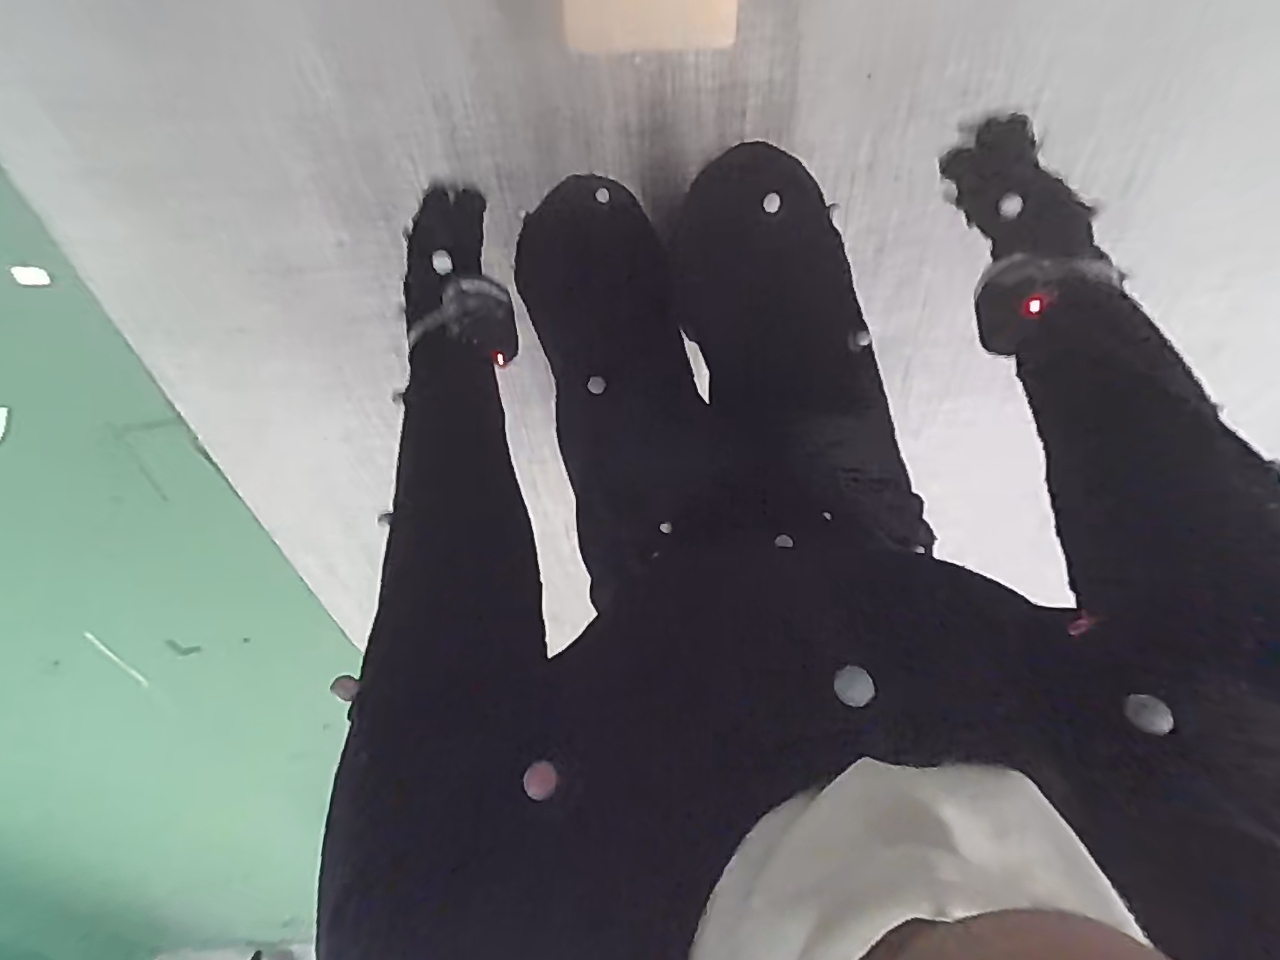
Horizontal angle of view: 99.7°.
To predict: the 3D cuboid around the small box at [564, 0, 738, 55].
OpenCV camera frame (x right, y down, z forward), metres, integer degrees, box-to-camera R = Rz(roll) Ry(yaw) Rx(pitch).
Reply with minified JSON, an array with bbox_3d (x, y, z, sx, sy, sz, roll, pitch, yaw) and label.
[{"bbox_3d":[0.009,-0.558,0.573,0.179,0.176,0.168,-3,130,0],"label":"small box"}]
